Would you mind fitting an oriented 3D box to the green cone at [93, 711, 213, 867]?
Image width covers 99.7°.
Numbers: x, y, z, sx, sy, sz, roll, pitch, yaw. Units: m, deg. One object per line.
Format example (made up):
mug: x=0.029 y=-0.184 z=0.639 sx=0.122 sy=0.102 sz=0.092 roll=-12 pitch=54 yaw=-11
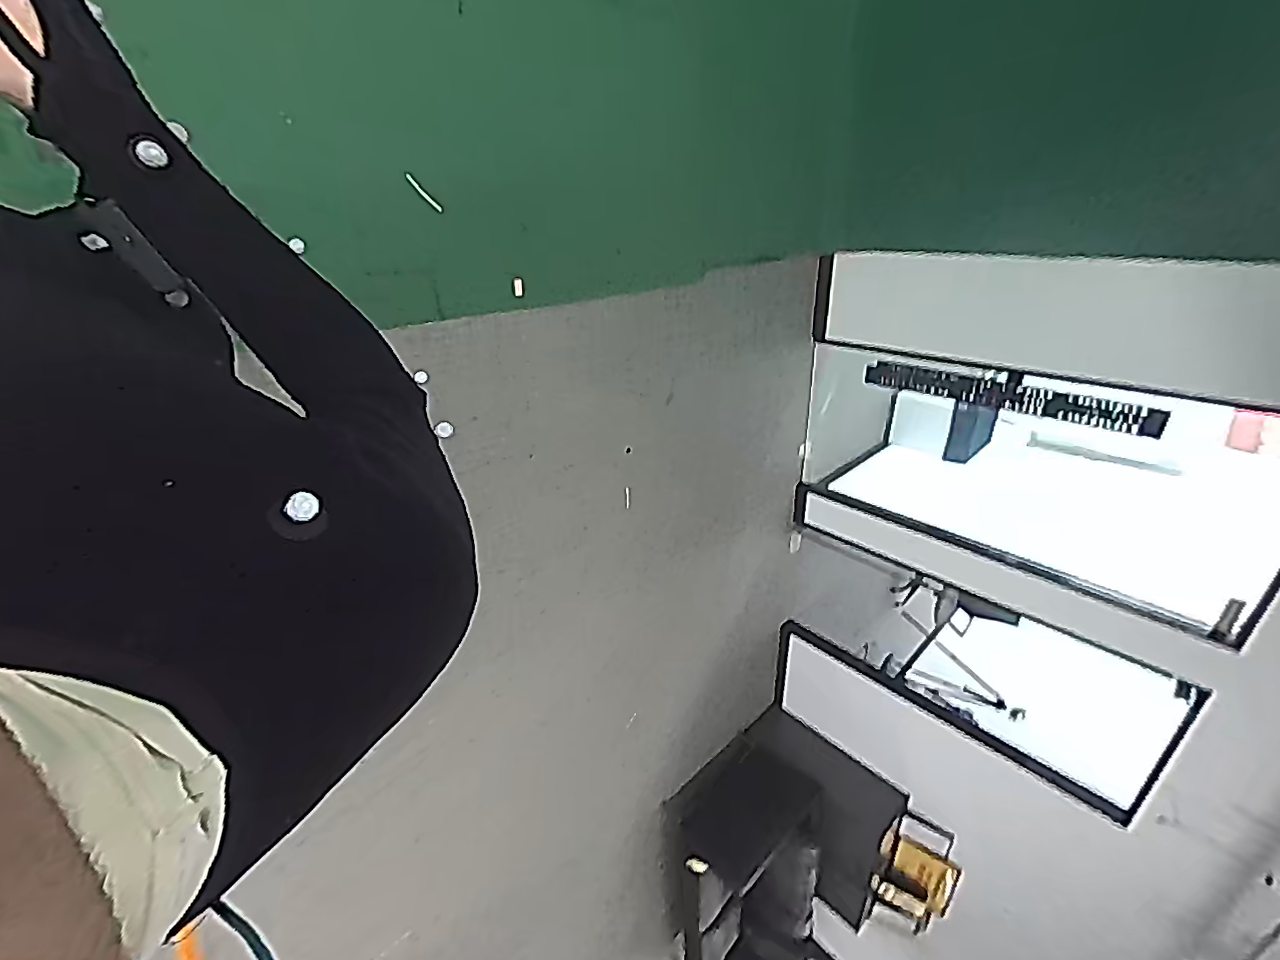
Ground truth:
green cone: x=-1.165 y=0.780 z=1.315 sx=0.202 sy=0.368 sz=0.200 roll=-23 pitch=122 yaw=-36
